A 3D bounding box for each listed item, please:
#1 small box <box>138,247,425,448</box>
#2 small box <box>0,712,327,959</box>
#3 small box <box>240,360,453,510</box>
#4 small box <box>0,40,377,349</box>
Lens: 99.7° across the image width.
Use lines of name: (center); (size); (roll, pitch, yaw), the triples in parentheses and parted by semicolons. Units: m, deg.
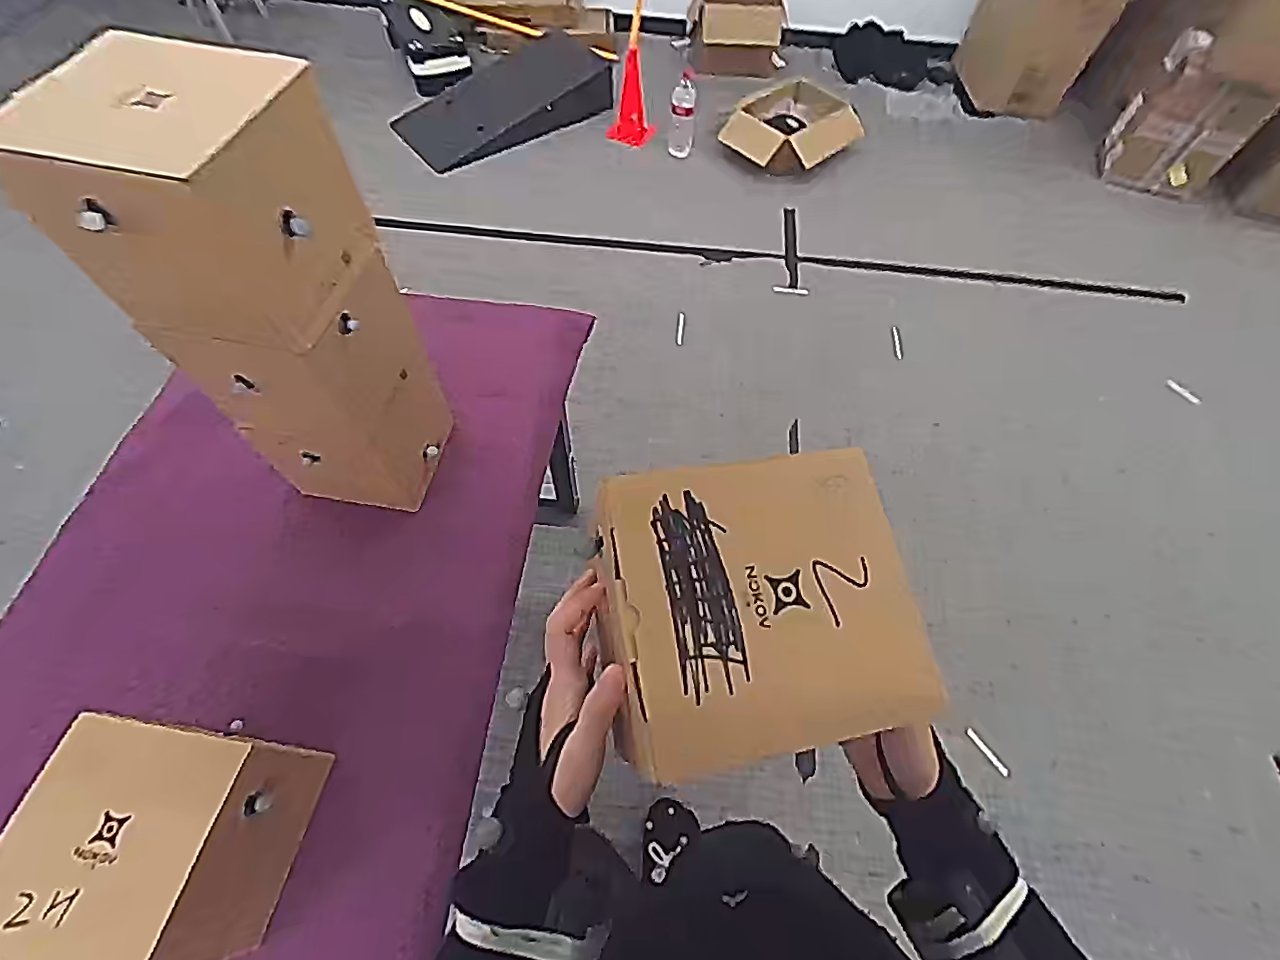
small box: (-0.378, -0.154, 0.611); (0.179, 0.176, 0.168); (10, 61, 5)
small box: (-0.436, 0.338, 0.514); (0.168, 0.176, 0.179); (9, 60, 4)
small box: (-0.387, -0.073, 0.753); (0.179, 0.176, 0.168); (9, 61, 3)
small box: (-0.366, -0.235, 0.470); (0.179, 0.176, 0.168); (10, 61, 4)
